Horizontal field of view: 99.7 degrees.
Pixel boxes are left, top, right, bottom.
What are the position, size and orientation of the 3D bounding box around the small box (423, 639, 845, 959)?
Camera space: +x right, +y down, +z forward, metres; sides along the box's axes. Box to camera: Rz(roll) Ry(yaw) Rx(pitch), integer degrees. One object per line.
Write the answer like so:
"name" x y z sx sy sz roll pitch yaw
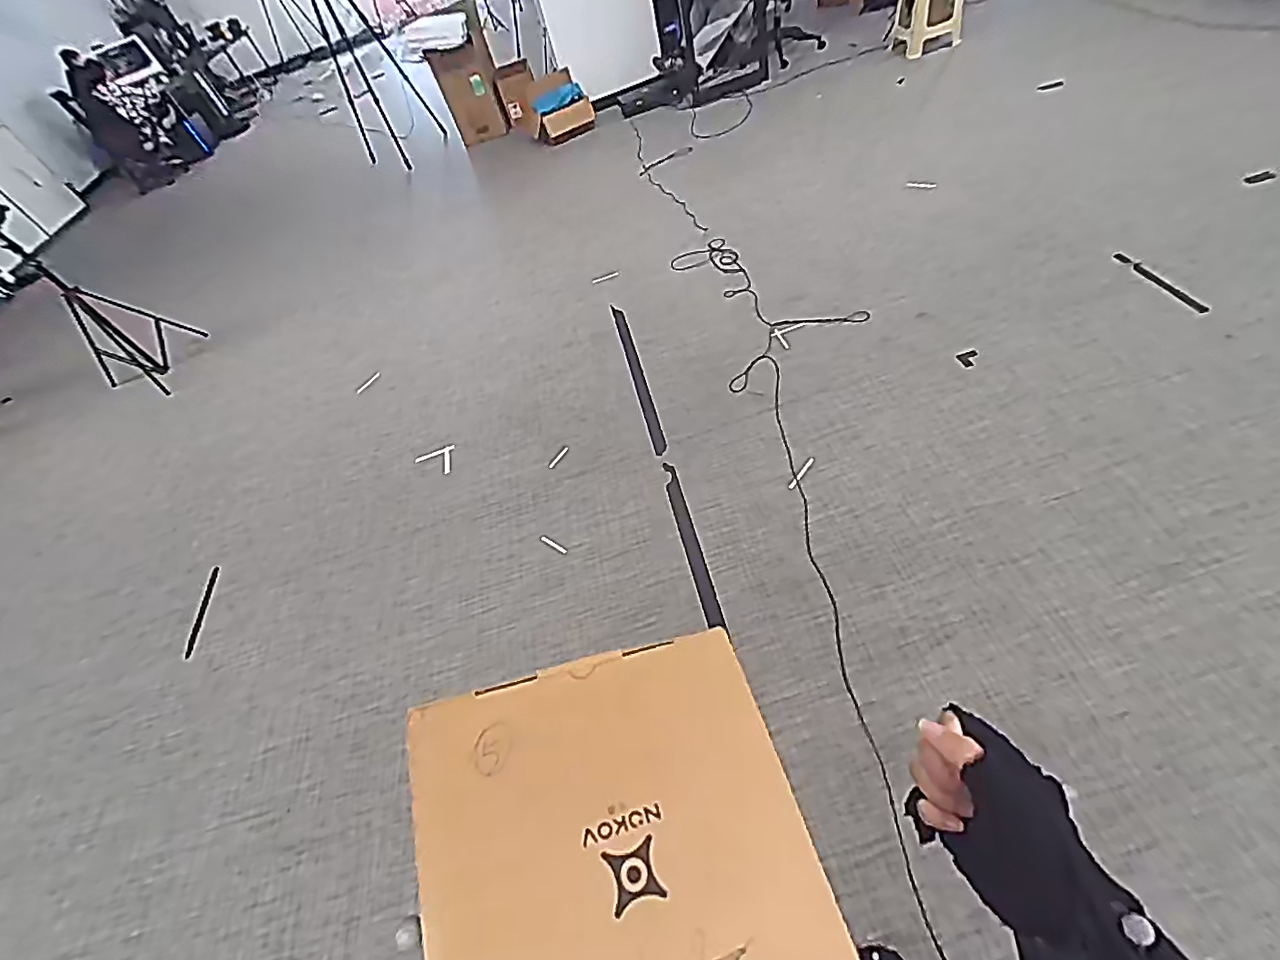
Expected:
"small box" -0.022 0.217 0.304 0.168 0.176 0.179 -8 58 -20
